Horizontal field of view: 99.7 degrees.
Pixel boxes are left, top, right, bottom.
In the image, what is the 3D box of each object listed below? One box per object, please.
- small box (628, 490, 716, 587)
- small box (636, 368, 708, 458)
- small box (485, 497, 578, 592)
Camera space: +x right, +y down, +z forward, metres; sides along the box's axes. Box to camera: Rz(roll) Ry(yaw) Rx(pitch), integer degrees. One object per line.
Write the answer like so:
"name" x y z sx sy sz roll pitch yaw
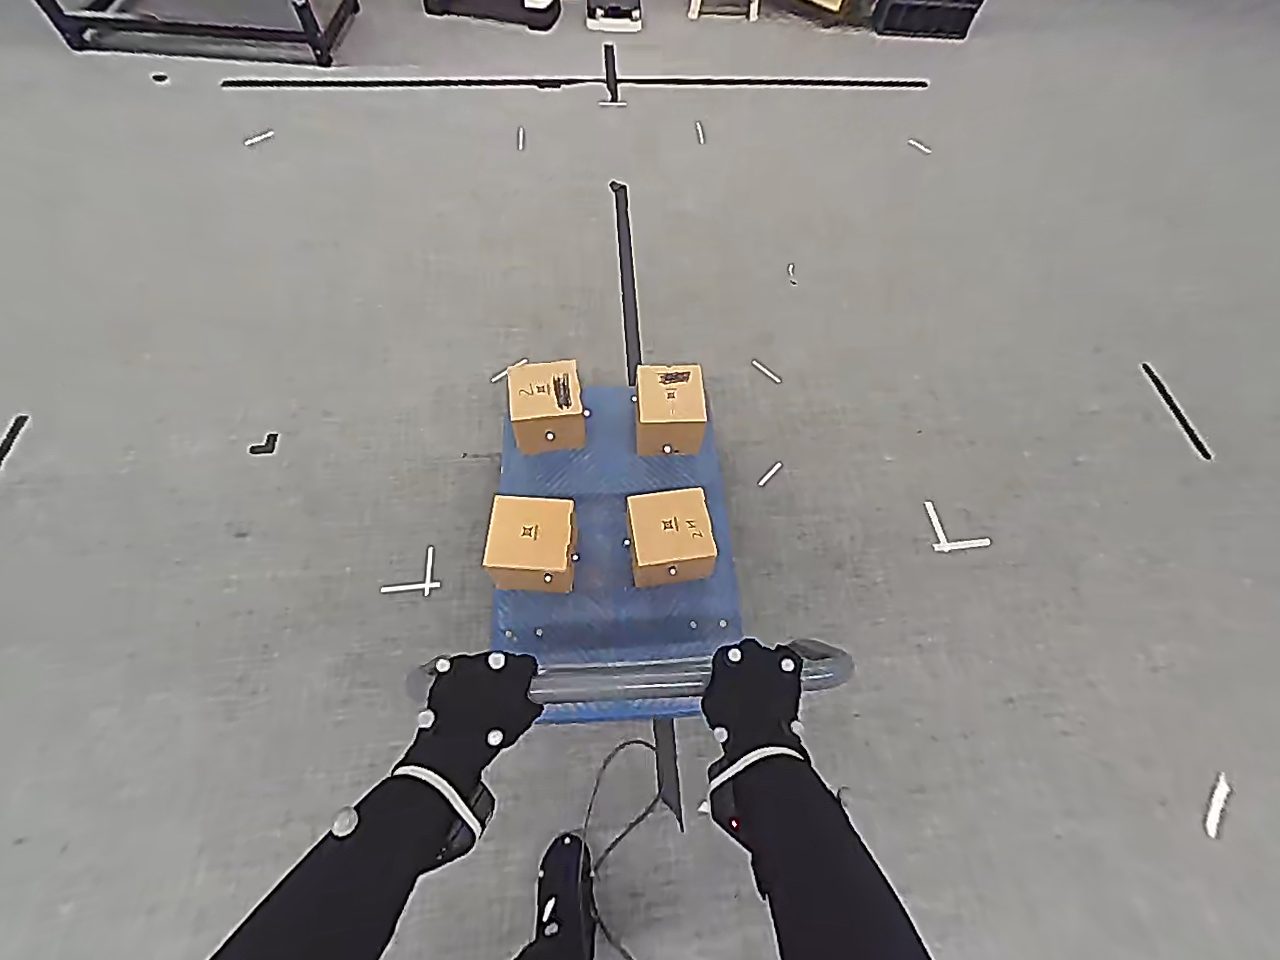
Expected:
"small box" 0.067 0.141 1.260 0.179 0.176 0.168 -6 63 -6
"small box" 0.078 -0.175 1.423 0.168 0.176 0.179 -1 64 -3
"small box" -0.240 0.152 1.240 0.179 0.176 0.168 4 62 -2
